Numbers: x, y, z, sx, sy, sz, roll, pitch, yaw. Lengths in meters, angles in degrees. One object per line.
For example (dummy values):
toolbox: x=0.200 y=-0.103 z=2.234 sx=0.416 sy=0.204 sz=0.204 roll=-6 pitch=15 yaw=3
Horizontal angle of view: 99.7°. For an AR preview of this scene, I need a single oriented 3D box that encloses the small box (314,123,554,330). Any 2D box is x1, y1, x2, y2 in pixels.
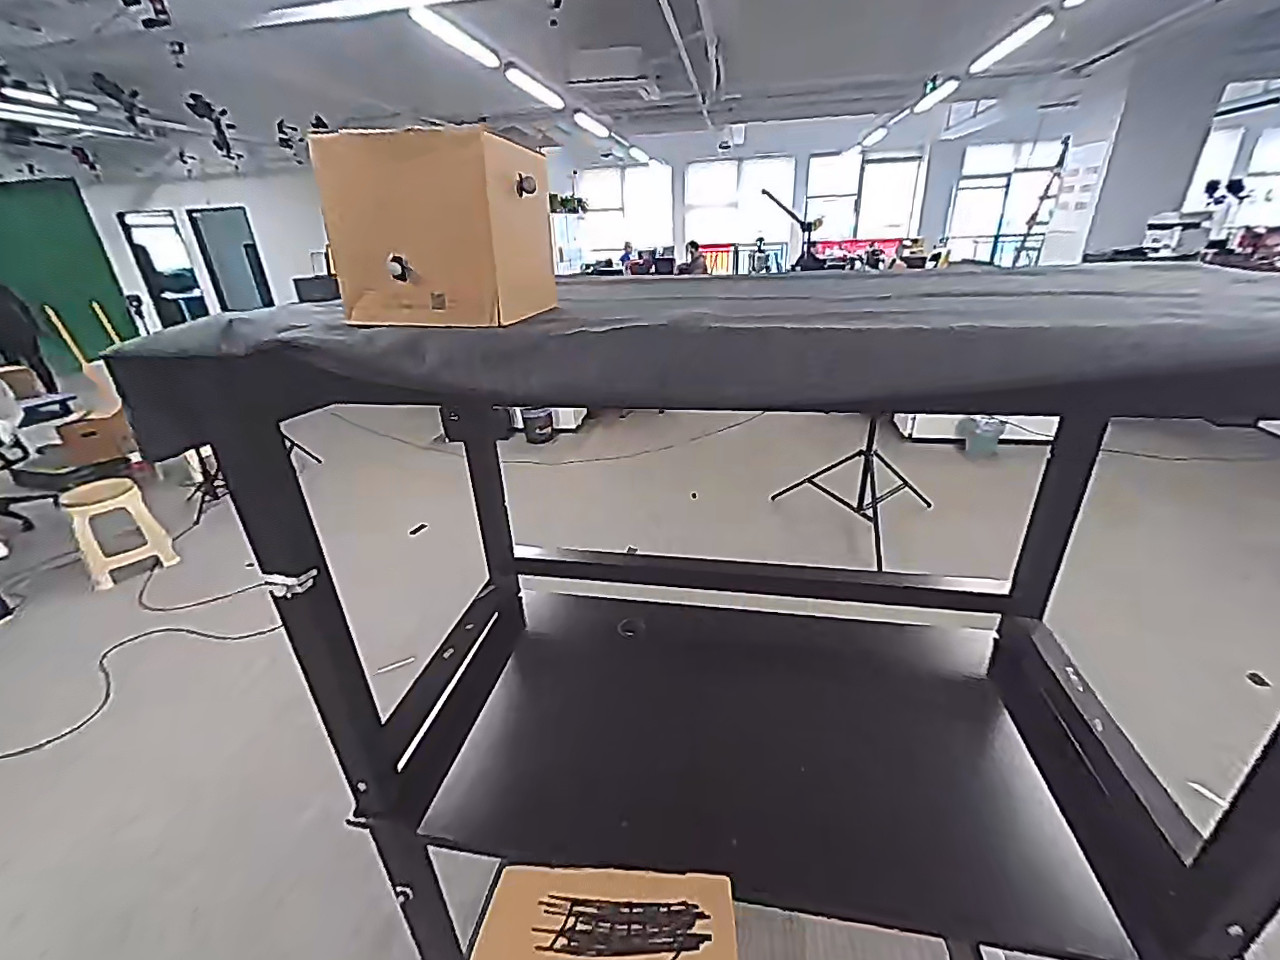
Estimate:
small box: x=-0.194 y=-0.257 z=0.567 sx=0.168 sy=0.176 sz=0.179 roll=3 pitch=24 yaw=9
